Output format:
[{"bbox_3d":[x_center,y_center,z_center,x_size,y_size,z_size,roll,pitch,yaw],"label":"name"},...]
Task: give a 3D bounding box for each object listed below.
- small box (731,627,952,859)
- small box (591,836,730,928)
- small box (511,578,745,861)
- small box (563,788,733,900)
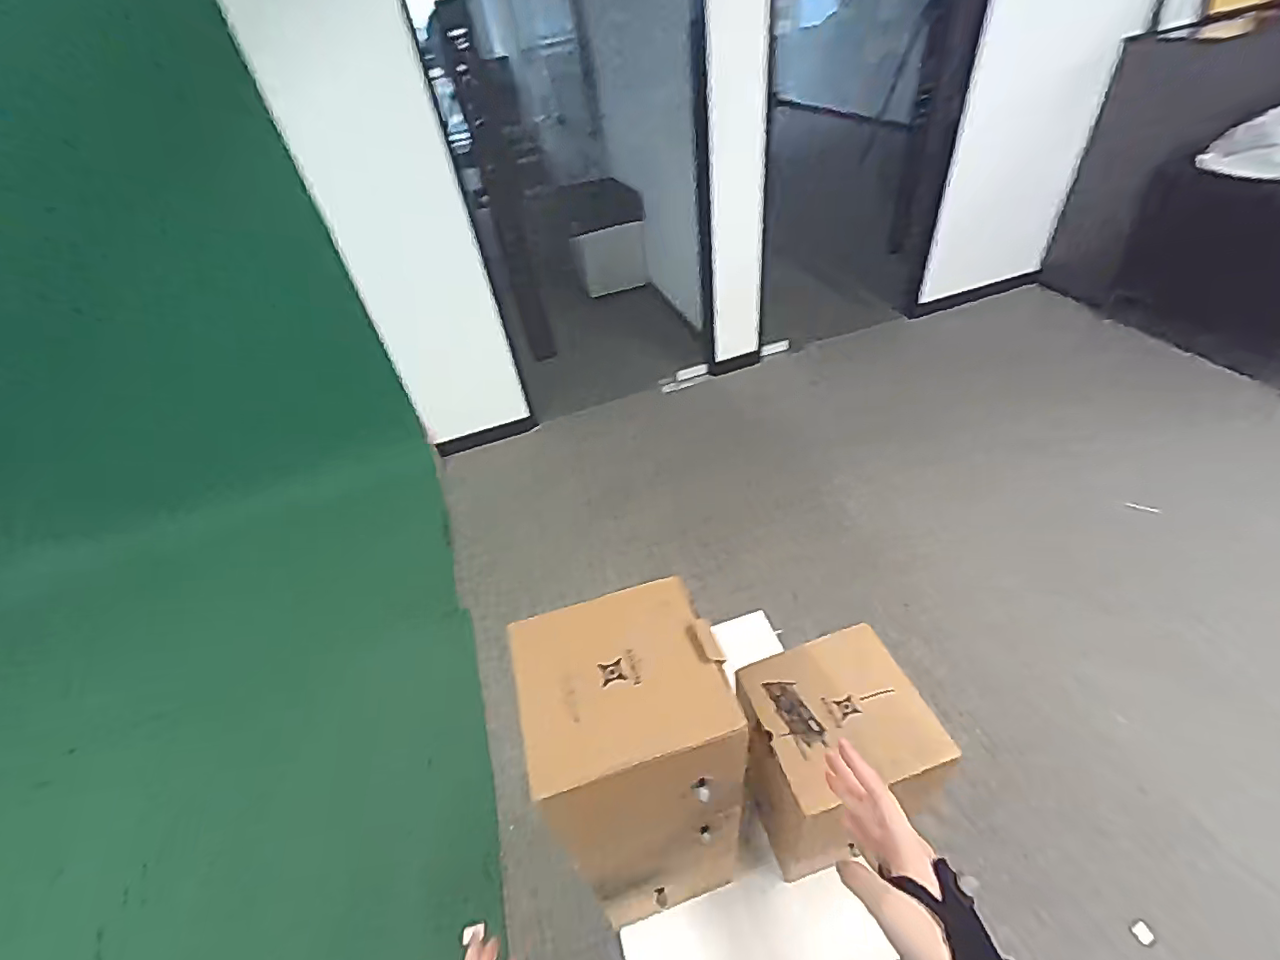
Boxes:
[{"bbox_3d":[0.222,0.312,0.640,0.179,0.176,0.168,-16,41,-8],"label":"small box"},{"bbox_3d":[0.012,0.474,0.742,0.179,0.176,0.168,-15,41,-10],"label":"small box"},{"bbox_3d":[-0.014,0.230,0.527,0.179,0.176,0.168,-15,40,-10],"label":"small box"},{"bbox_3d":[-0.002,0.353,0.633,0.179,0.176,0.168,-13,41,-10],"label":"small box"}]
